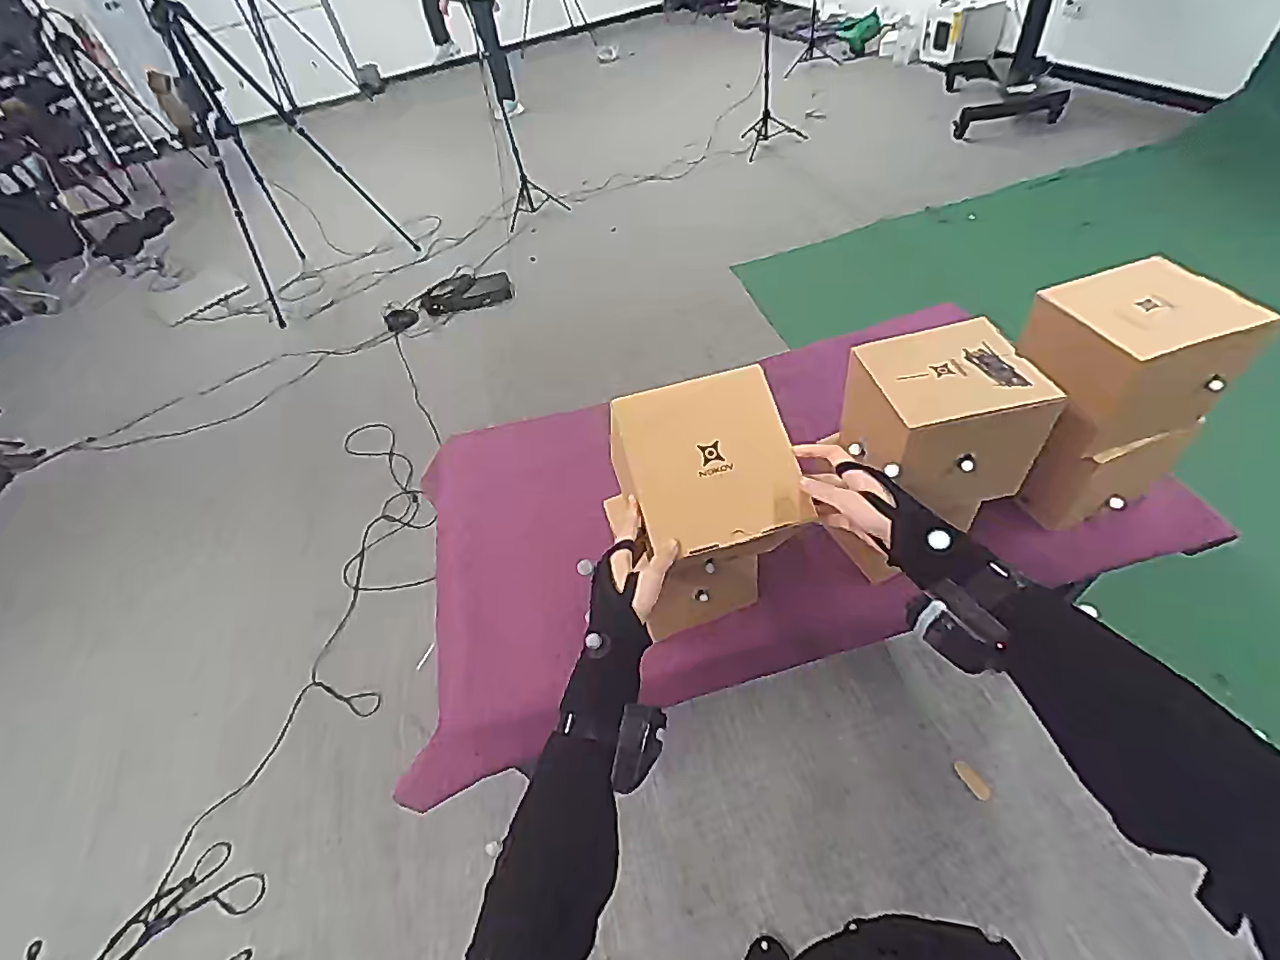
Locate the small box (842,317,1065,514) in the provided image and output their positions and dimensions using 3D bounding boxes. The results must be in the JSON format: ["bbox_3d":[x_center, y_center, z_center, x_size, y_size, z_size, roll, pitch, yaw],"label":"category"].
[{"bbox_3d":[0.379,-0.079,0.697,0.179,0.176,0.168,-12,47,3],"label":"small box"}]

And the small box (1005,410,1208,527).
[{"bbox_3d":[0.675,-0.058,0.831,0.179,0.176,0.168,-21,48,-5],"label":"small box"}]

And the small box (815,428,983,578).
[{"bbox_3d":[0.387,0.017,0.833,0.168,0.176,0.179,-23,48,-7],"label":"small box"}]

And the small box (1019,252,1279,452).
[{"bbox_3d":[0.634,-0.165,0.714,0.179,0.176,0.168,-17,48,-1],"label":"small box"}]
